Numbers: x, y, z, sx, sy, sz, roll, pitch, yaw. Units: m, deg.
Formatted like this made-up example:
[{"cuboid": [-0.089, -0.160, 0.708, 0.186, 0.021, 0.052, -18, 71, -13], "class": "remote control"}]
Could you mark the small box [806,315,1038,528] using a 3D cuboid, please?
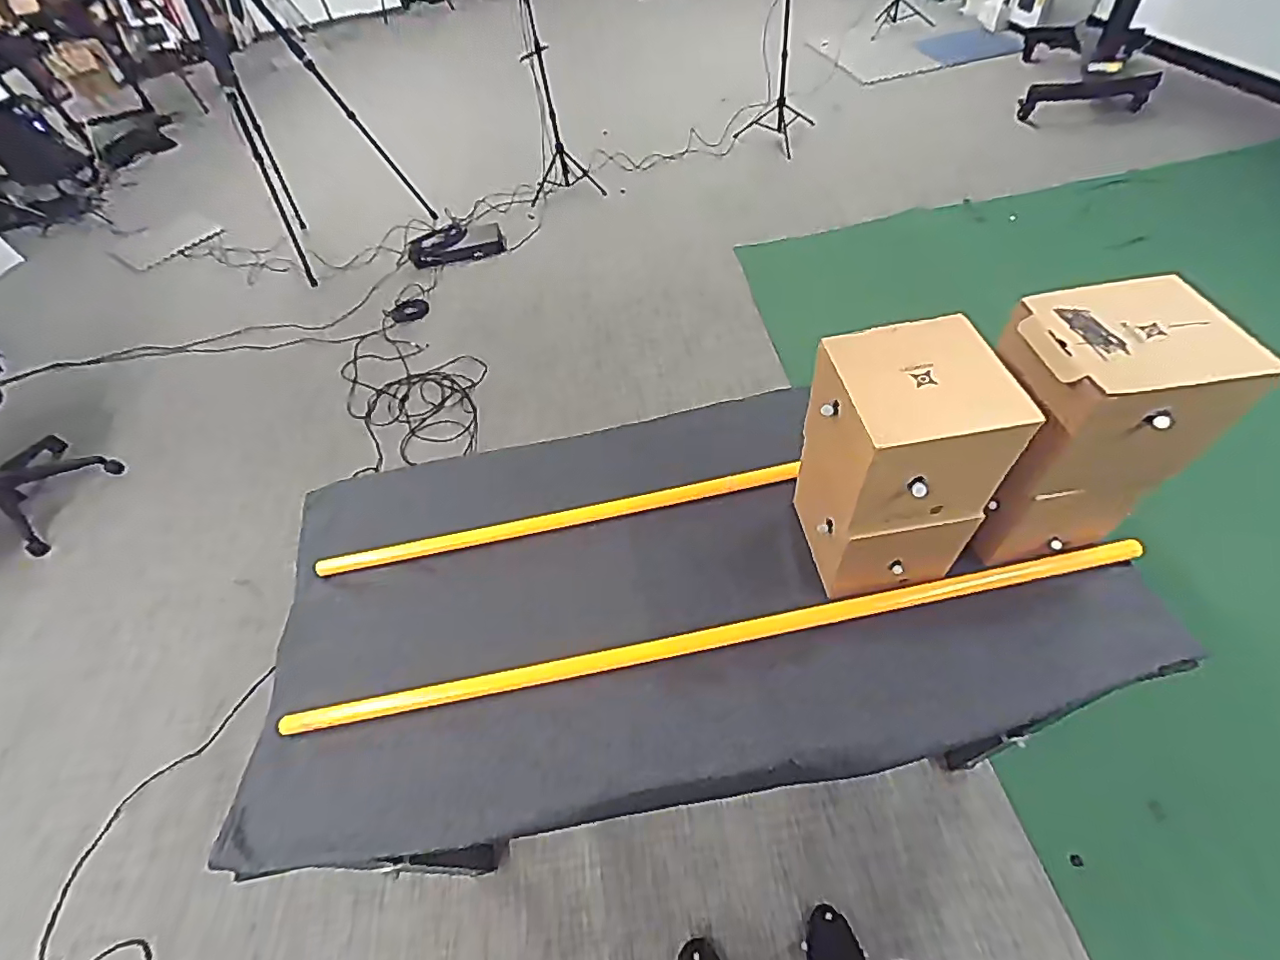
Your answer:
[{"cuboid": [0.304, -0.059, 0.630, 0.168, 0.176, 0.179, -10, 52, 2], "class": "small box"}]

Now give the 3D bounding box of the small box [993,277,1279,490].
[{"cuboid": [0.529, -0.104, 0.626, 0.179, 0.176, 0.168, -8, 53, 2], "class": "small box"}]

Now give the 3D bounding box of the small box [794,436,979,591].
[{"cuboid": [0.325, 0.042, 0.756, 0.168, 0.176, 0.179, -10, 52, 1], "class": "small box"}]
